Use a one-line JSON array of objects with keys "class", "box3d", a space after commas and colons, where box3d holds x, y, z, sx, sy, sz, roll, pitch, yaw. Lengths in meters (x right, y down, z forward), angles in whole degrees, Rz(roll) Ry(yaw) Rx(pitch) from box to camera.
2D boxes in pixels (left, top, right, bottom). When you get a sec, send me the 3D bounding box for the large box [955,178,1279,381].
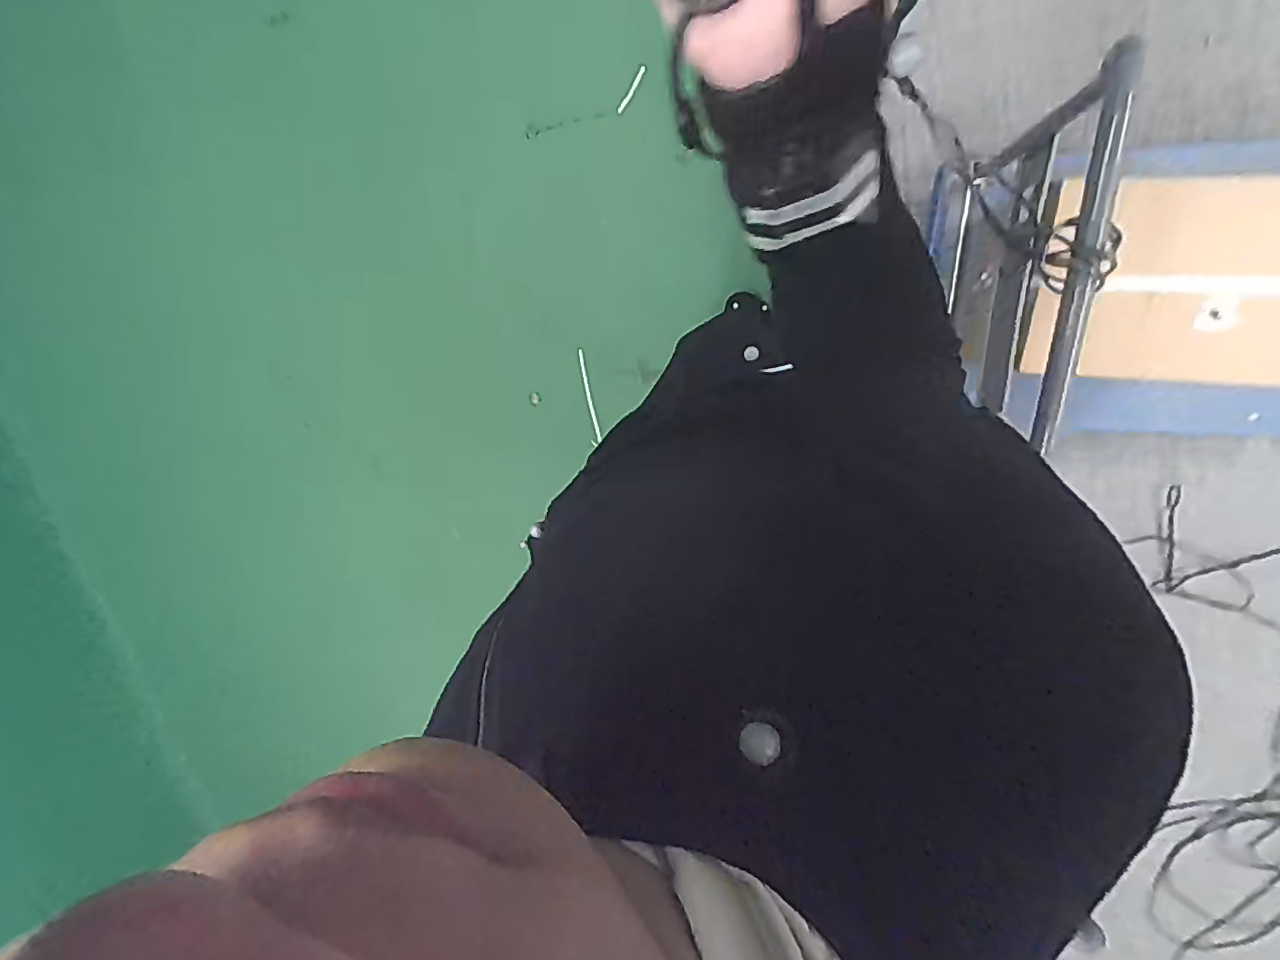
[{"class": "large box", "box3d": [0.895, -0.367, 1.039, 0.408, 0.320, 0.320, 6, 107, 10]}]
